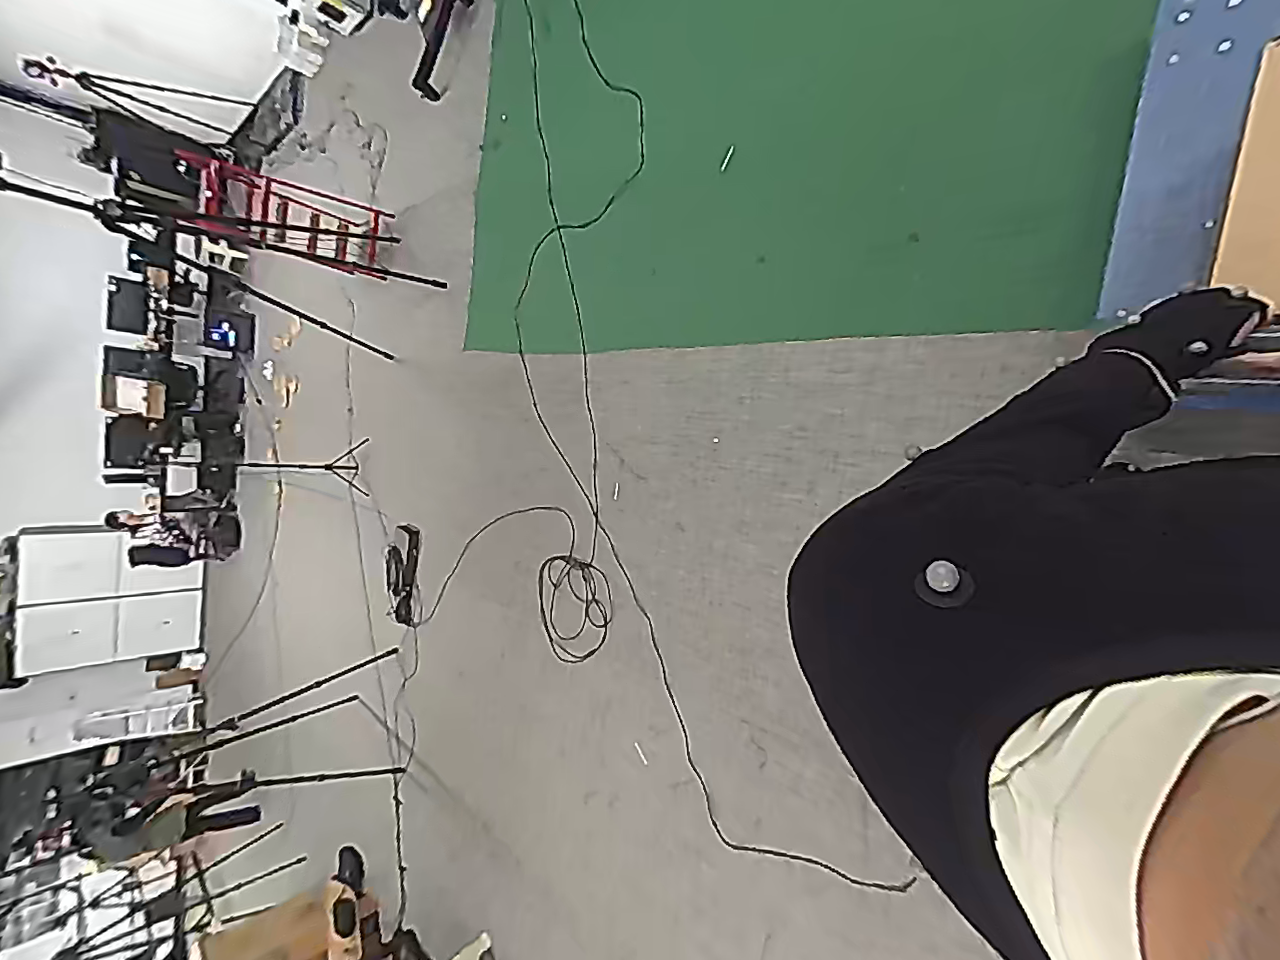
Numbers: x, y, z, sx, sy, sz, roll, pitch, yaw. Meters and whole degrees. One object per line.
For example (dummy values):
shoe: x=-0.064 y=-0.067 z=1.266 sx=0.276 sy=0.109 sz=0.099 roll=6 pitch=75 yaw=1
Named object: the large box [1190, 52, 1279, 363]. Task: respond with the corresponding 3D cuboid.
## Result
large box: x=1.108 y=-0.411 z=0.837 sx=0.320 sy=0.320 sz=0.408 roll=11 pitch=95 yaw=41
